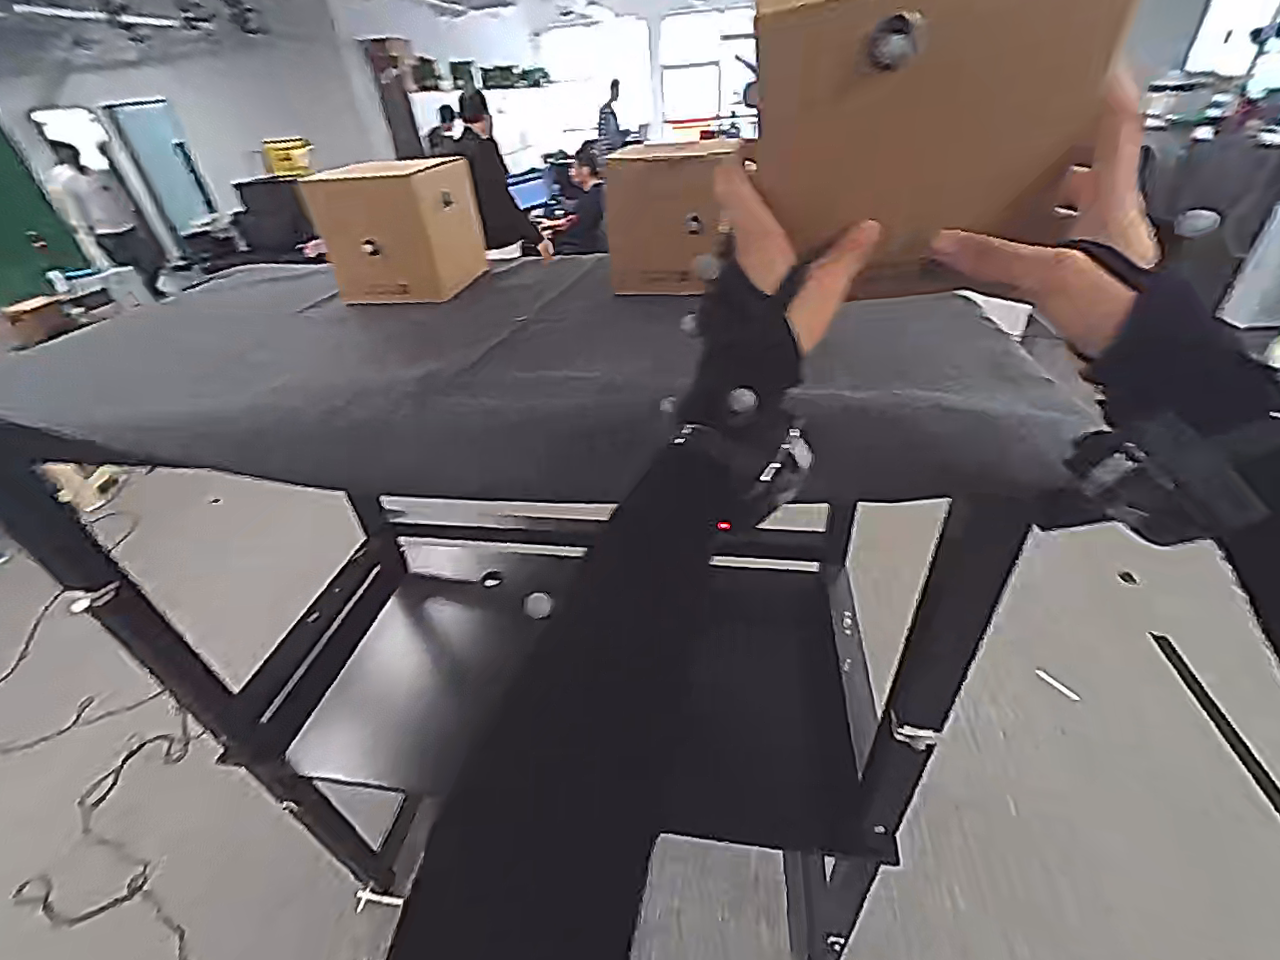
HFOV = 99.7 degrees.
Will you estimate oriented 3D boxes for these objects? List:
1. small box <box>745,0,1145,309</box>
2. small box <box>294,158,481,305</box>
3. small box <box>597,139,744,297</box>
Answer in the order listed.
[{"bbox_3d":[0.156,-0.232,0.339,0.168,0.176,0.179,-1,54,15],"label":"small box"},{"bbox_3d":[-0.357,-0.369,0.809,0.168,0.176,0.179,2,37,9],"label":"small box"},{"bbox_3d":[0.051,-0.361,0.749,0.168,0.176,0.179,6,37,13],"label":"small box"}]
